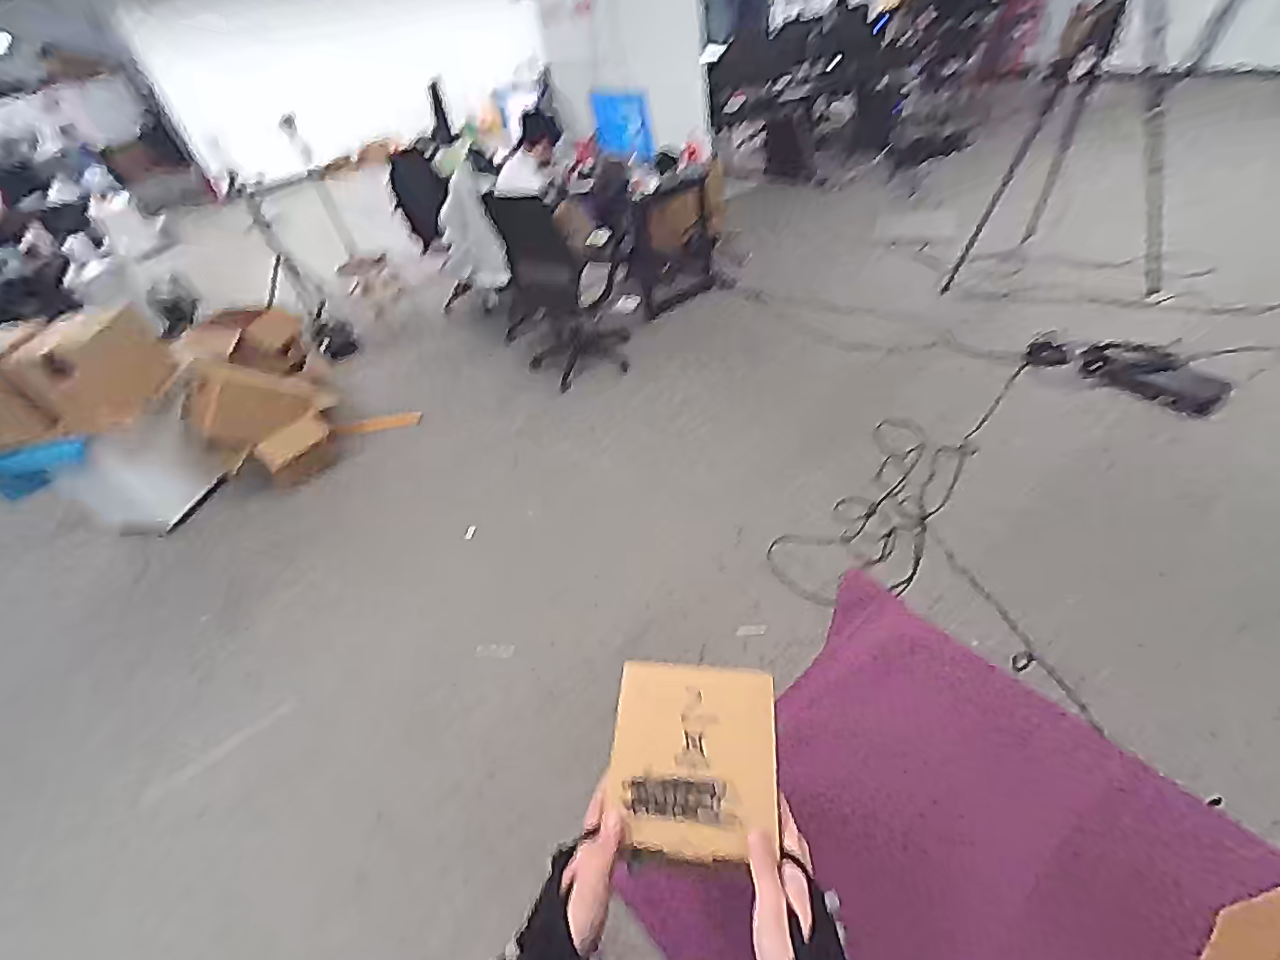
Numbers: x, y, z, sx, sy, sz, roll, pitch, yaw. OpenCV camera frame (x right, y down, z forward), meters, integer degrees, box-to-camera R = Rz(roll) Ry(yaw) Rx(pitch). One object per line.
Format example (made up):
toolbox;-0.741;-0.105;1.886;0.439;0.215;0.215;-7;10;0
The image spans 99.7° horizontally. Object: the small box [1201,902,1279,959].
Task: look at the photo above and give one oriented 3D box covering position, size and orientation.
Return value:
small box;0.656;0.530;0.500;0.179;0.176;0.168;-34;47;-22
